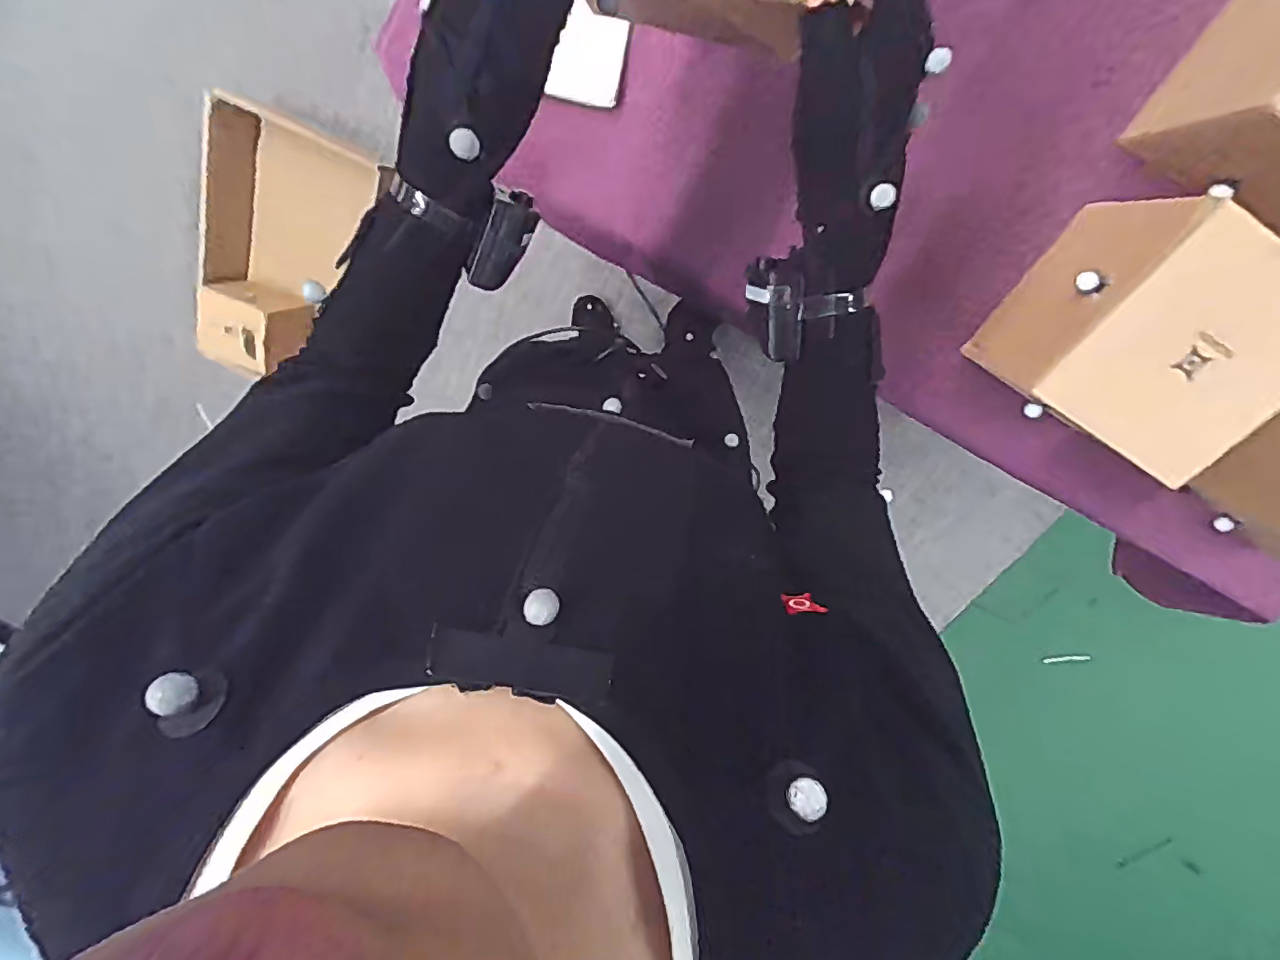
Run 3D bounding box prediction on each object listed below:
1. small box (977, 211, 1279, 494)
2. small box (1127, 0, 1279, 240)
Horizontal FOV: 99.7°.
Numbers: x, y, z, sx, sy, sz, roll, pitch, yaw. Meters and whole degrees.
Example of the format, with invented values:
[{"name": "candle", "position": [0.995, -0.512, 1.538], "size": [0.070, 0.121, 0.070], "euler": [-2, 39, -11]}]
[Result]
[{"name": "small box", "position": [0.459, -0.125, 0.511], "size": [0.168, 0.176, 0.179], "euler": [32, 117, -6]}, {"name": "small box", "position": [0.548, -0.304, 0.409], "size": [0.168, 0.176, 0.179], "euler": [30, 116, -5]}]
